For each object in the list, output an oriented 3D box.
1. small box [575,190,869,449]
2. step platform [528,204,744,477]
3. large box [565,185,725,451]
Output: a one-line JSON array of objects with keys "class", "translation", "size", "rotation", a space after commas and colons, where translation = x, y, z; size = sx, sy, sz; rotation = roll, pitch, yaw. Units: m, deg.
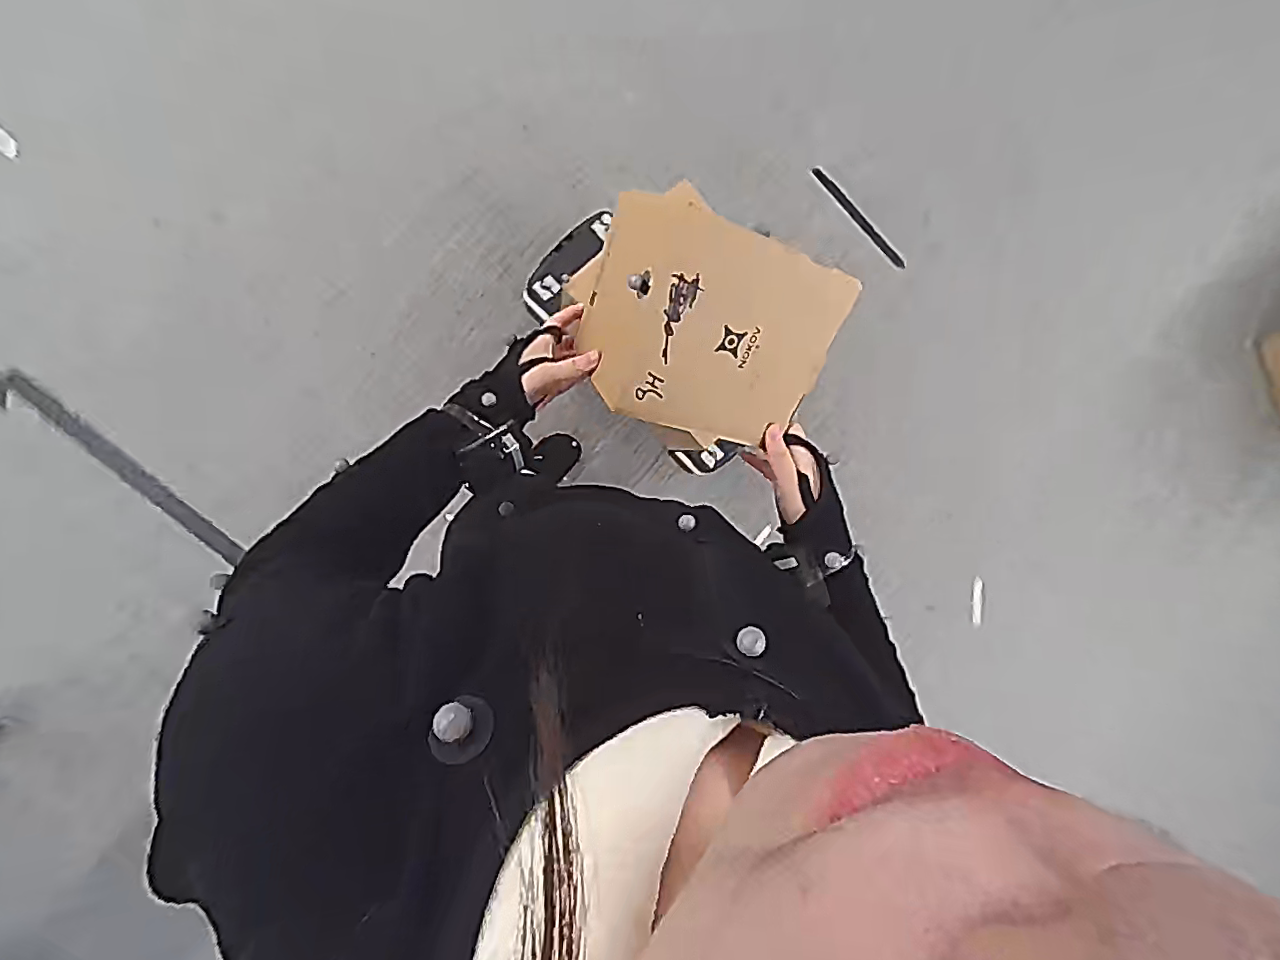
[{"class": "small box", "translation": [0.059, -0.150, 0.497], "size": [0.179, 0.176, 0.168], "rotation": [10, 115, -27]}, {"class": "step platform", "translation": [0.025, -0.336, 1.385], "size": [0.286, 0.204, 0.684], "rotation": [-41, 98, -5]}, {"class": "large box", "translation": [0.087, -0.307, 1.155], "size": [0.320, 0.320, 0.408], "rotation": [-43, 98, -6]}]
